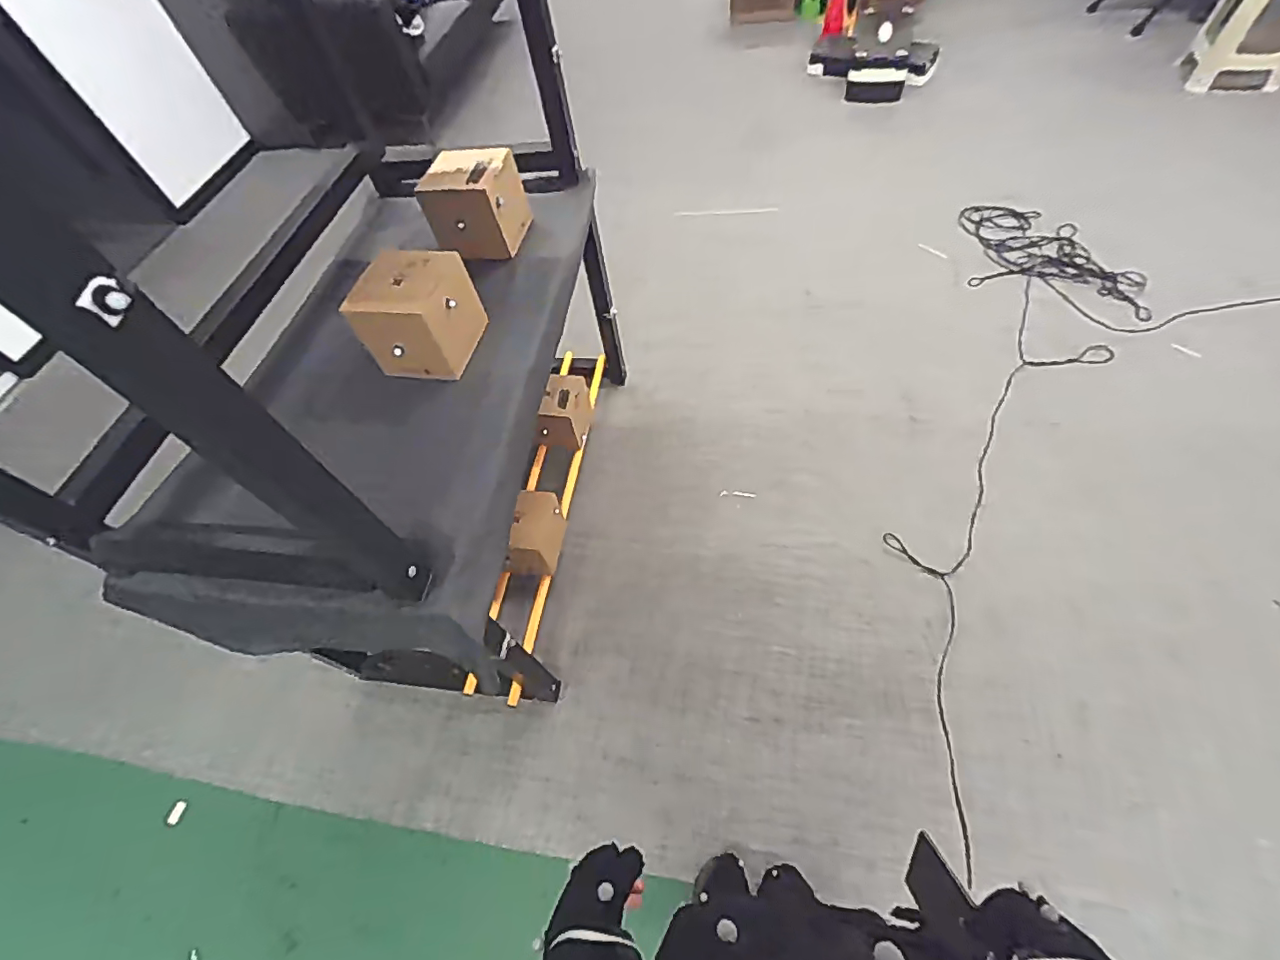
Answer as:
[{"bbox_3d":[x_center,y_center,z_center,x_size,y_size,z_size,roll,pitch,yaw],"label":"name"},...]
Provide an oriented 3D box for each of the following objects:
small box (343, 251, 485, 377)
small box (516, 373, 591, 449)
[{"bbox_3d":[-0.422,-0.318,1.048,0.168,0.176,0.179,6,58,12],"label":"small box"},{"bbox_3d":[-0.263,-0.214,1.708,0.179,0.176,0.168,6,58,12],"label":"small box"}]
